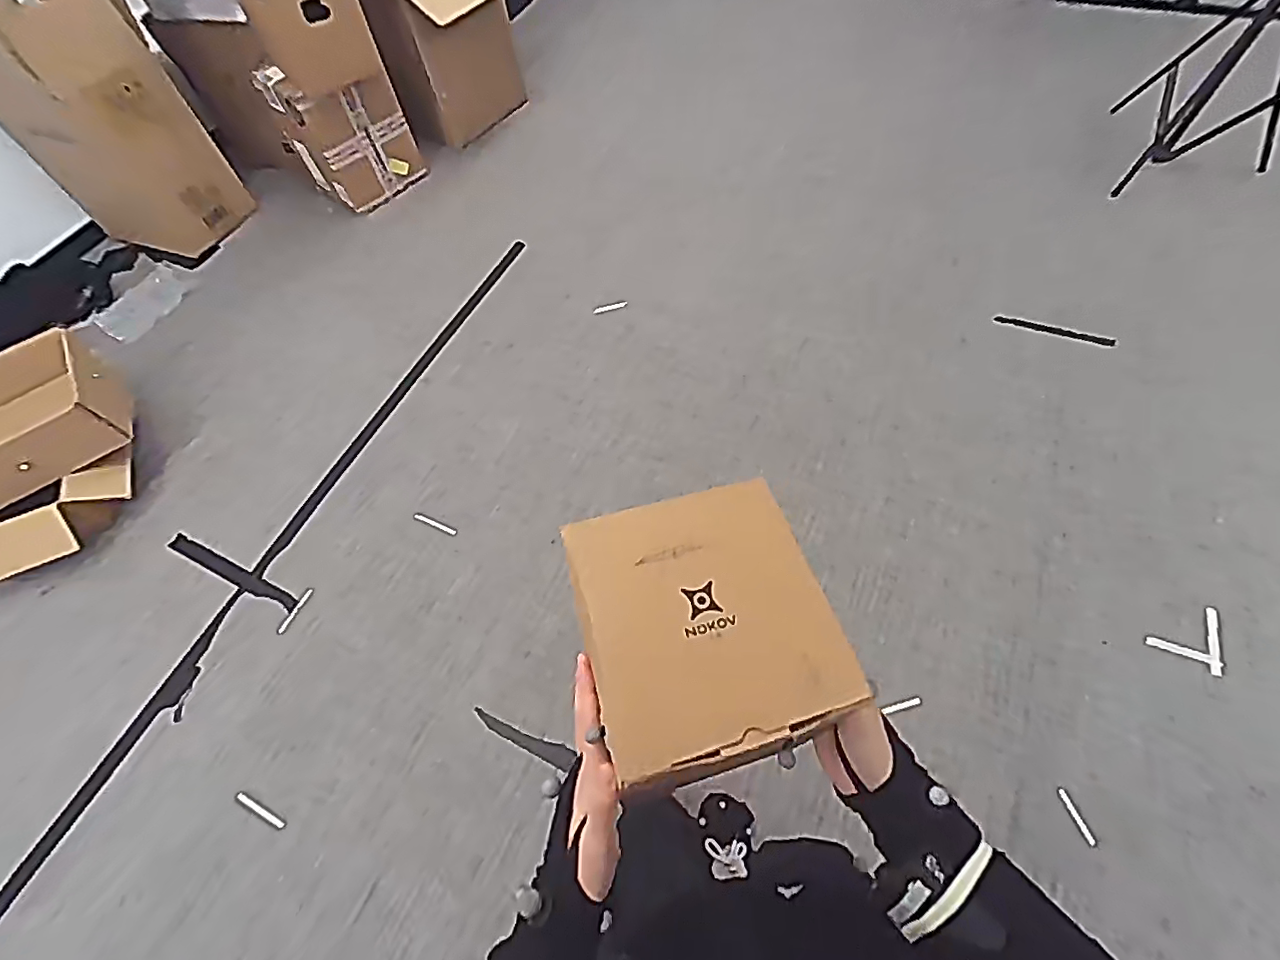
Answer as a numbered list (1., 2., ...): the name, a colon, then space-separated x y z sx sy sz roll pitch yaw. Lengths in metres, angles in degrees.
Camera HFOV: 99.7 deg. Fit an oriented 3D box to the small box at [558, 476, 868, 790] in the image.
1. small box: 0.040 0.128 0.429 0.168 0.176 0.179 -13 56 -11
